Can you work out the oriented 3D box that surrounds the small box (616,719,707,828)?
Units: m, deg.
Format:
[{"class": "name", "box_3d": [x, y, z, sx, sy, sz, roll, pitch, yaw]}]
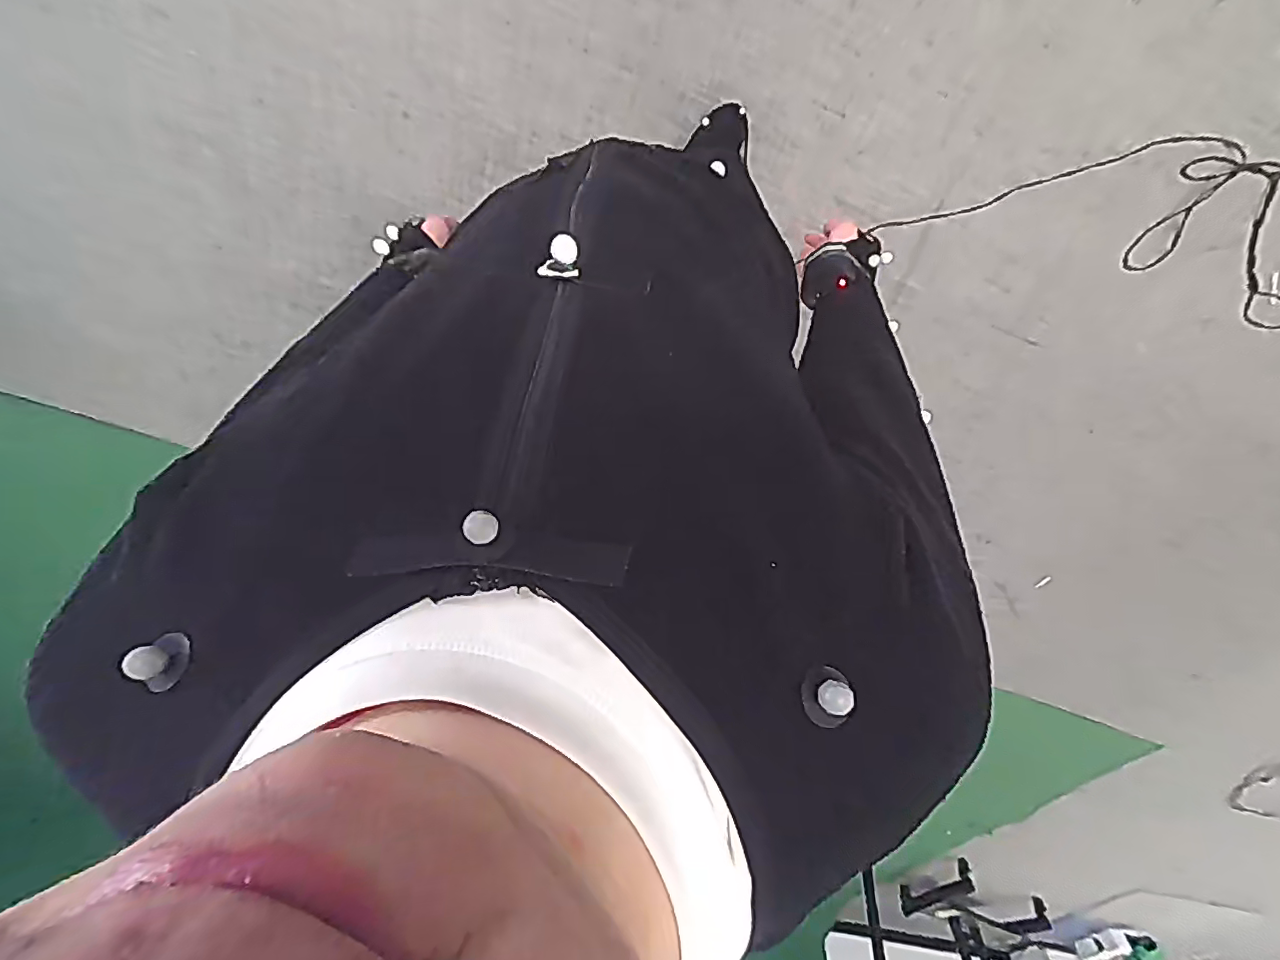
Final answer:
[{"class": "small box", "box_3d": [0.052, 0.727, 1.345, 0.168, 0.176, 0.179, 22, 125, -11]}]
